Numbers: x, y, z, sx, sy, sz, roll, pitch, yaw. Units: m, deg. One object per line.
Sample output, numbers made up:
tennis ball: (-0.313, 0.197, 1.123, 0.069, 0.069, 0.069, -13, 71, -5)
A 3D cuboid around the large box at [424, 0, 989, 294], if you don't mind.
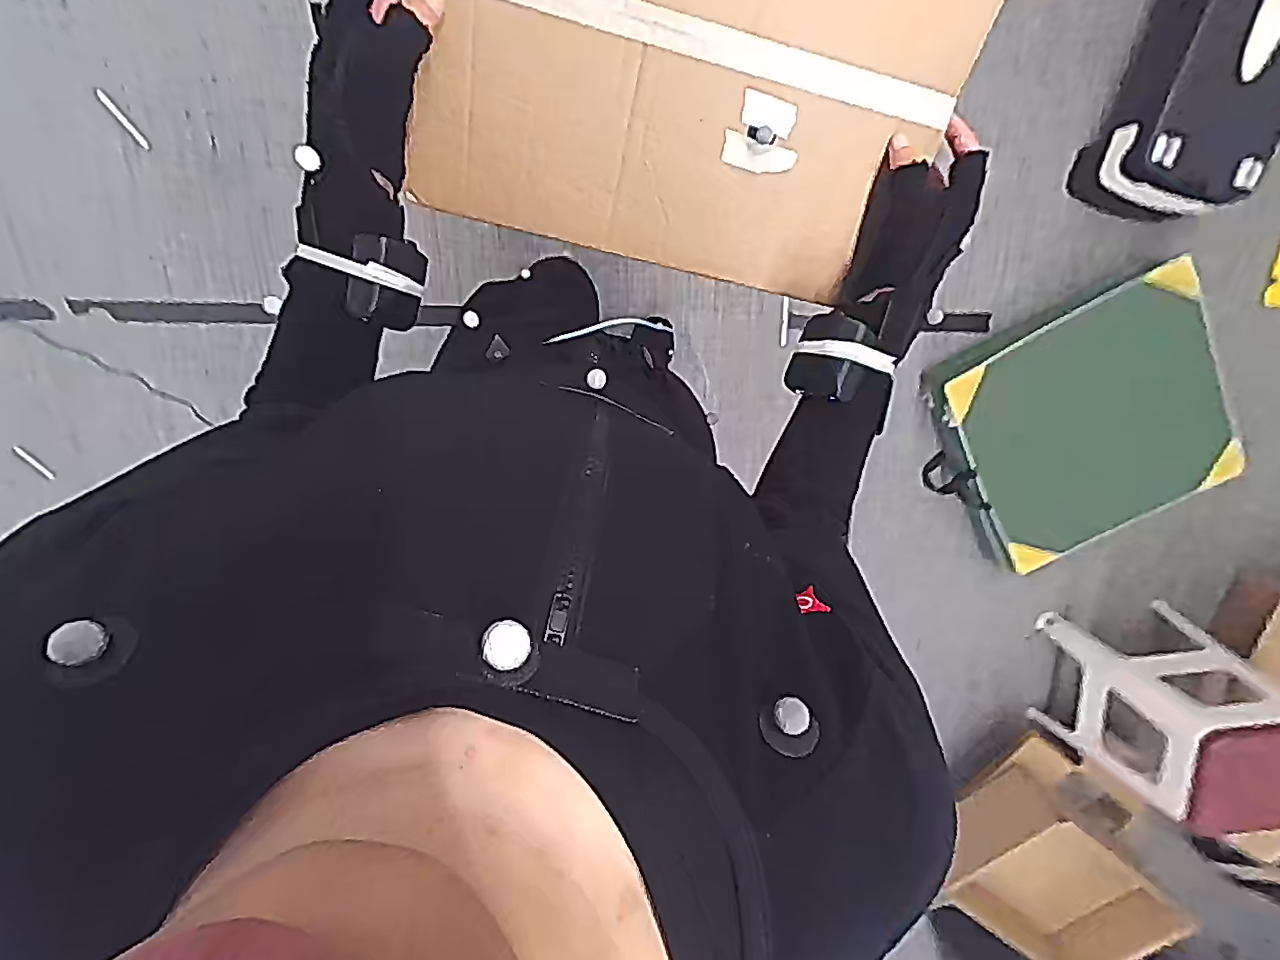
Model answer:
large box: (0.039, -0.413, 0.520, 0.408, 0.320, 0.320, 10, 126, -9)
